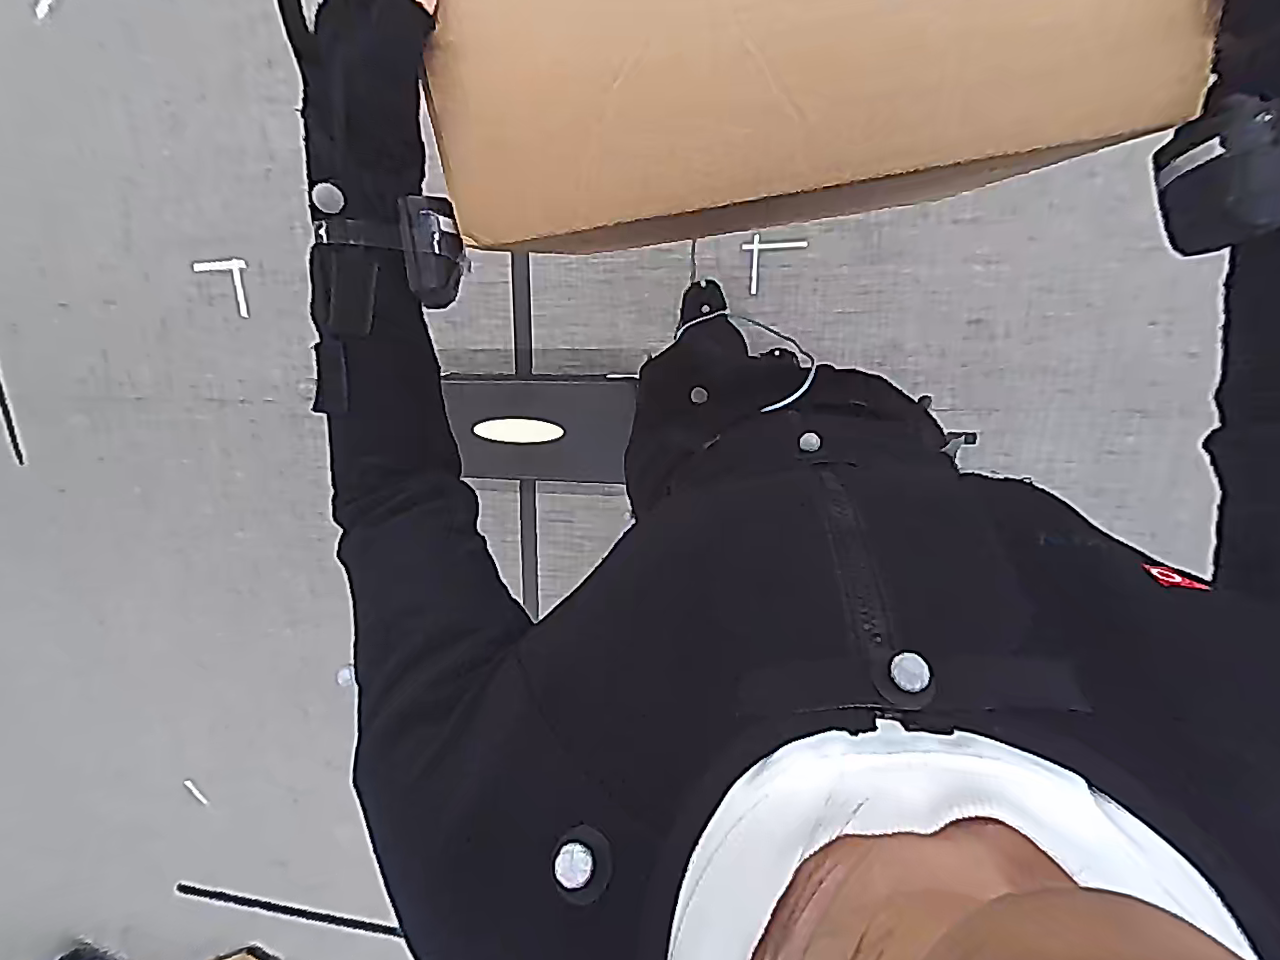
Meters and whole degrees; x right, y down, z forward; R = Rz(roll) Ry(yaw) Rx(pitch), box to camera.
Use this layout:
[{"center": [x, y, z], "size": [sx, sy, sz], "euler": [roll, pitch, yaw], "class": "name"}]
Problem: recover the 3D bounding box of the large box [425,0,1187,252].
[{"center": [0.083, -0.375, 0.408], "size": [0.408, 0.320, 0.320], "euler": [-6, 111, 10], "class": "large box"}]
